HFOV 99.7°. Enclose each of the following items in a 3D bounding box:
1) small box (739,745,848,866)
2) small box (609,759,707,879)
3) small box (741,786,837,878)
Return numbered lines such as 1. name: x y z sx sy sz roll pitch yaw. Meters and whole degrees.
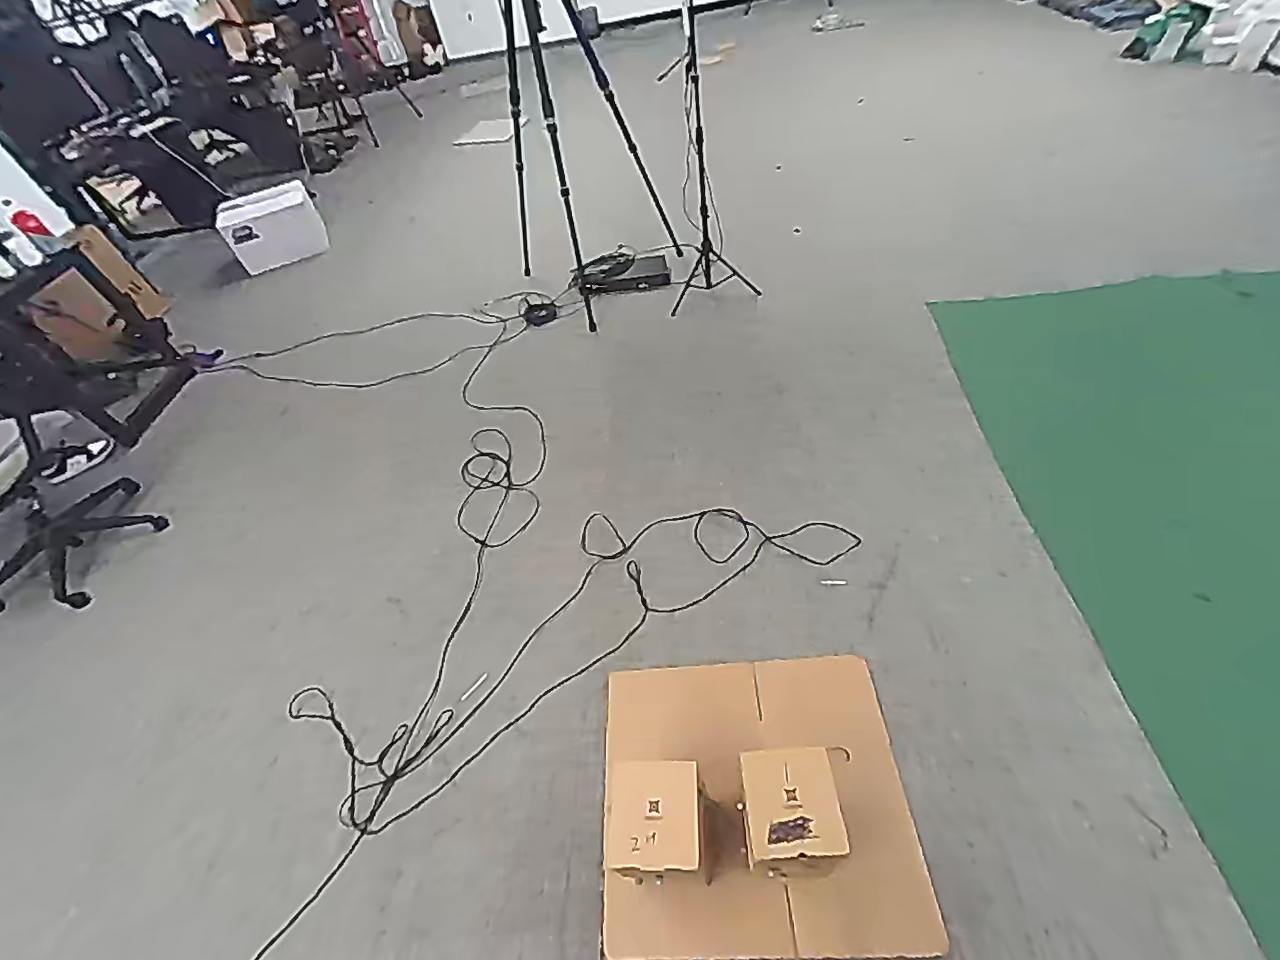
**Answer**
1. small box: 0.287 0.630 1.039 0.168 0.176 0.179 -7 49 5
2. small box: 0.041 0.663 1.057 0.168 0.176 0.179 -5 49 9
3. small box: 0.309 0.737 1.161 0.168 0.176 0.179 -7 50 5
